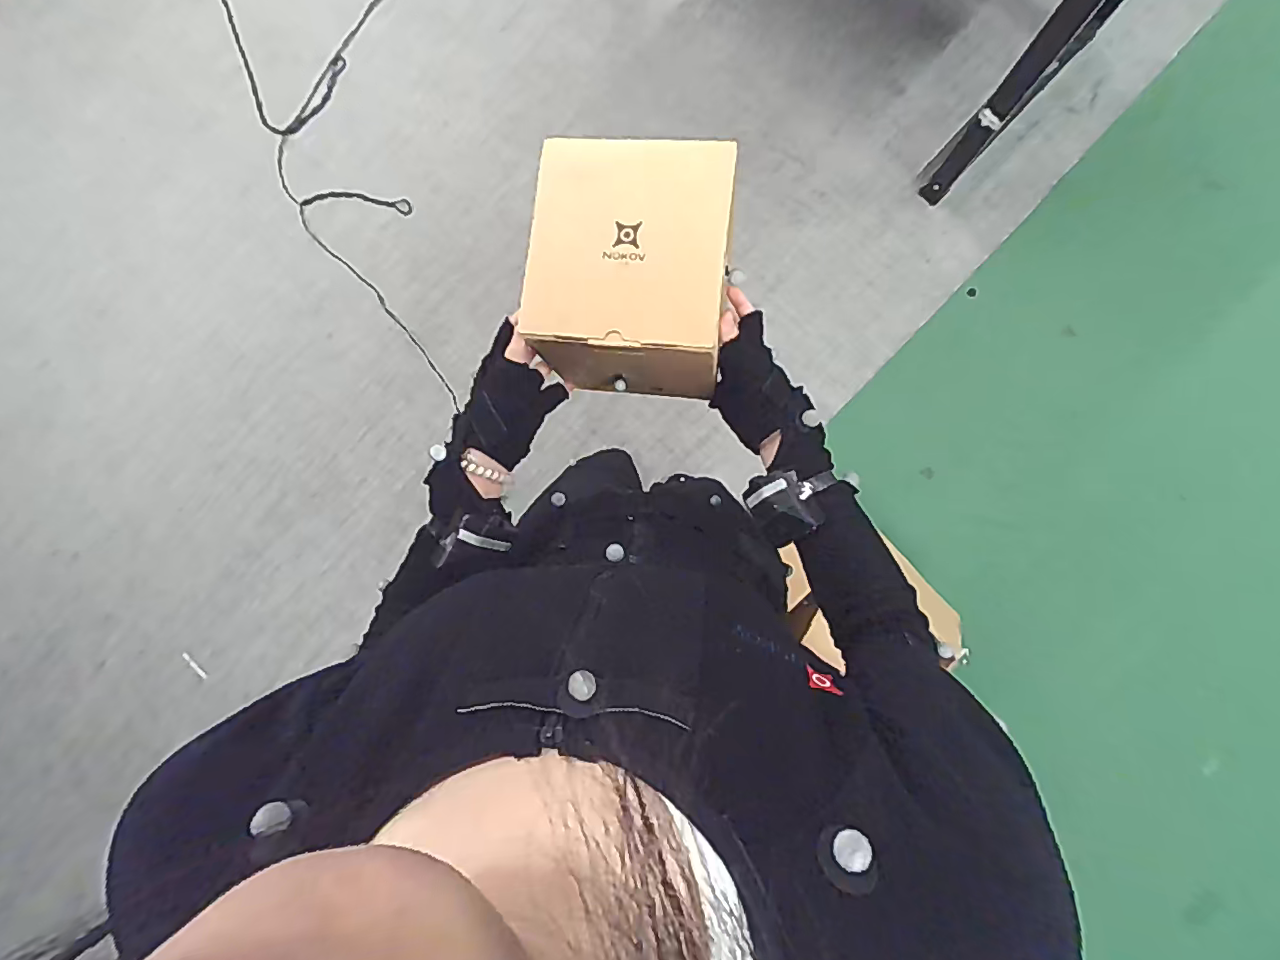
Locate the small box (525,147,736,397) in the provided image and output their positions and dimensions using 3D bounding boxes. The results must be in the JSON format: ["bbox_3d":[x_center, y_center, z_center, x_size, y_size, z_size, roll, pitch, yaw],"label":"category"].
[{"bbox_3d":[0.000,-0.192,0.539,0.168,0.176,0.179,6,87,8],"label":"small box"}]
